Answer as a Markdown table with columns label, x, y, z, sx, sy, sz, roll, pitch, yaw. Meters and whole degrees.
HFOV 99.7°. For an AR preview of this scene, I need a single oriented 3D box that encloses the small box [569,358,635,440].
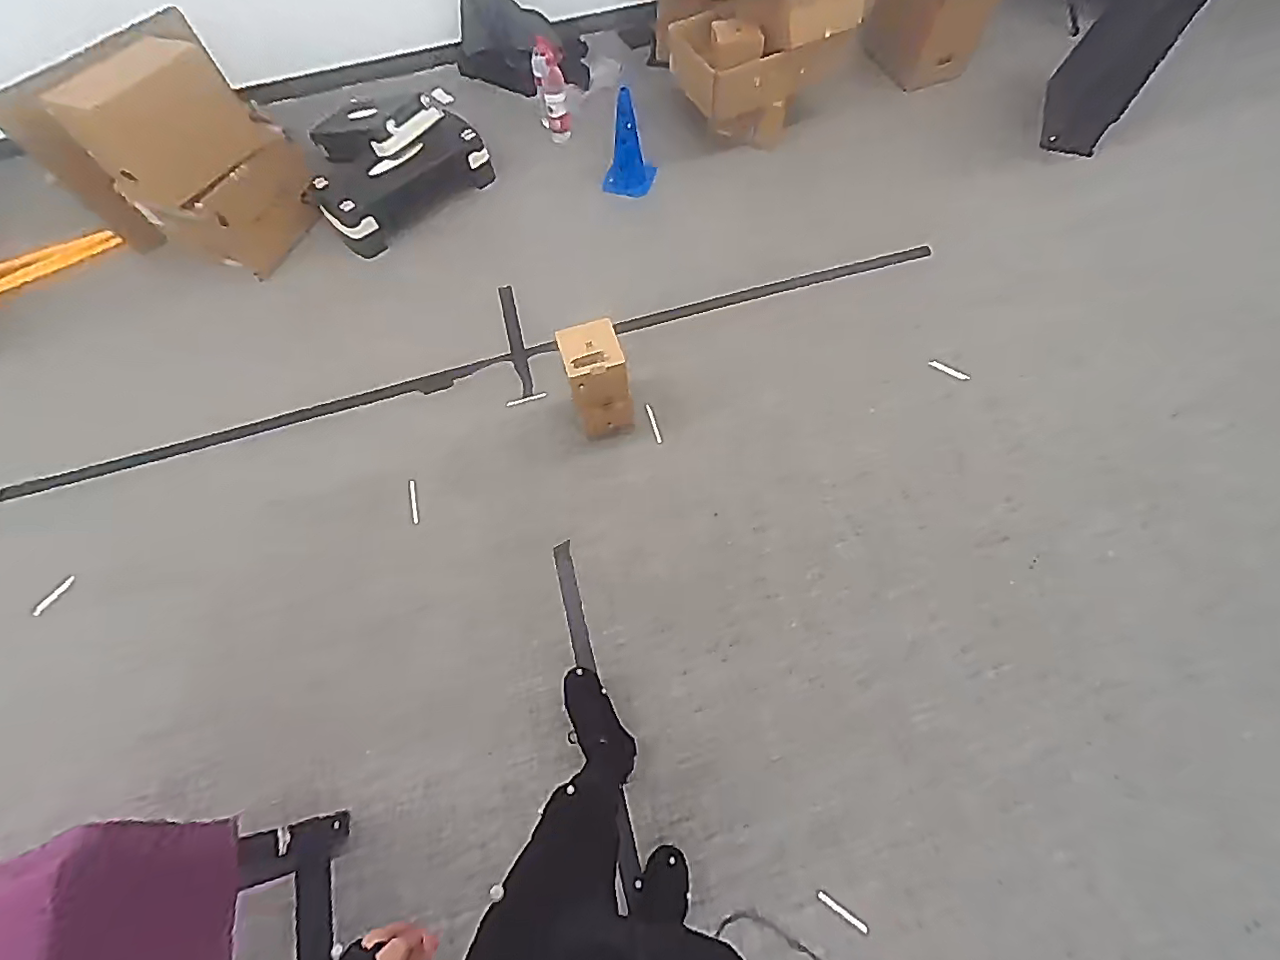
| label | x | y | z | sx | sy | sz | roll | pitch | yaw |
| --- | --- | --- | --- | --- | --- | --- | --- | --- | --- |
| small box | -0.118 | -0.256 | 1.737 | 0.168 | 0.176 | 0.179 | -18 | 66 | -6 |
